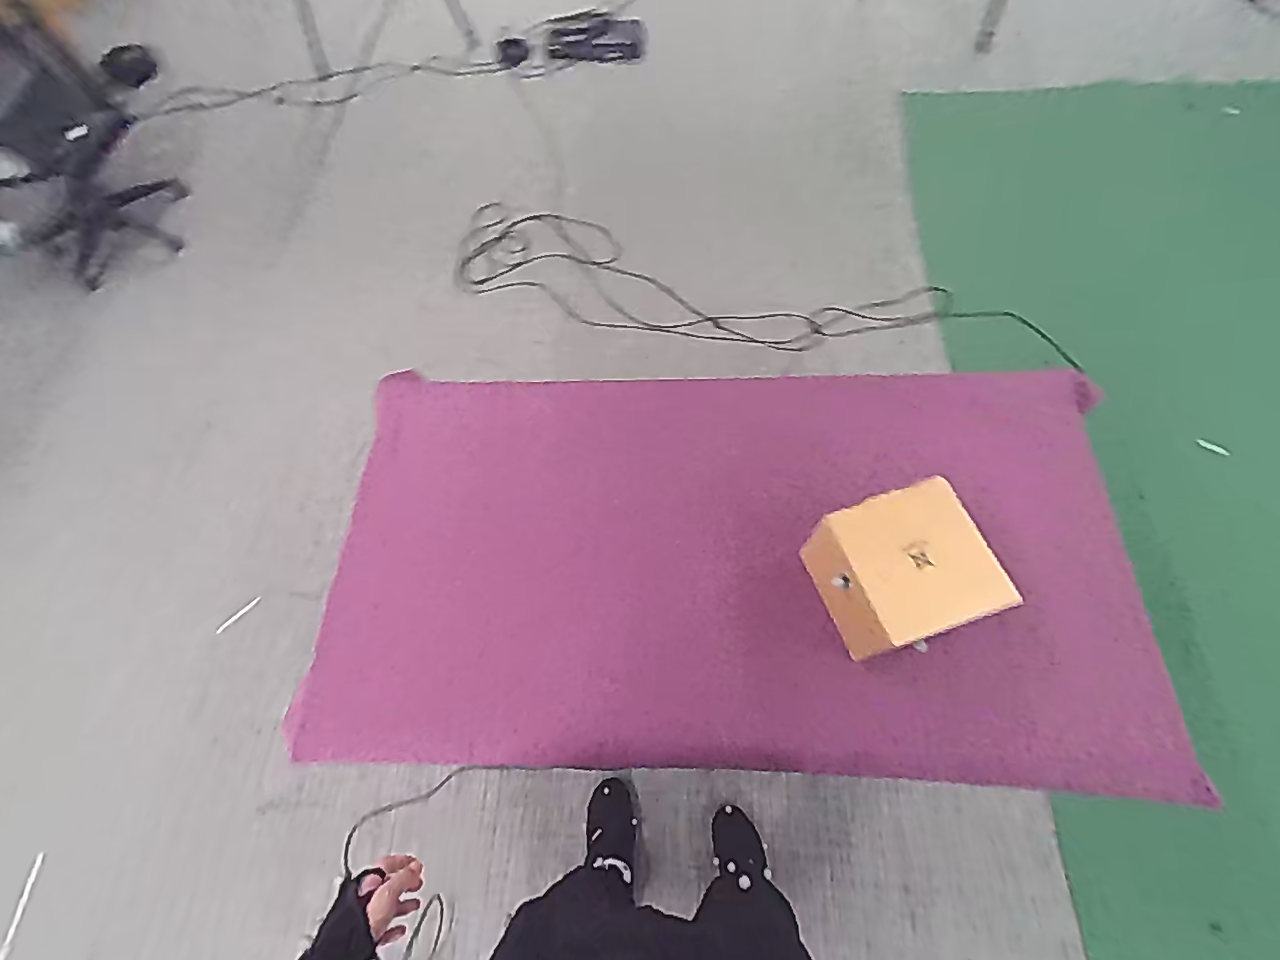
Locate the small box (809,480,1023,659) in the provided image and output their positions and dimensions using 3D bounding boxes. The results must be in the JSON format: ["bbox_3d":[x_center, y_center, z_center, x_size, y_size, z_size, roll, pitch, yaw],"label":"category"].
[{"bbox_3d":[0.348,0.130,0.725,0.168,0.176,0.179,-19,65,-3],"label":"small box"}]
